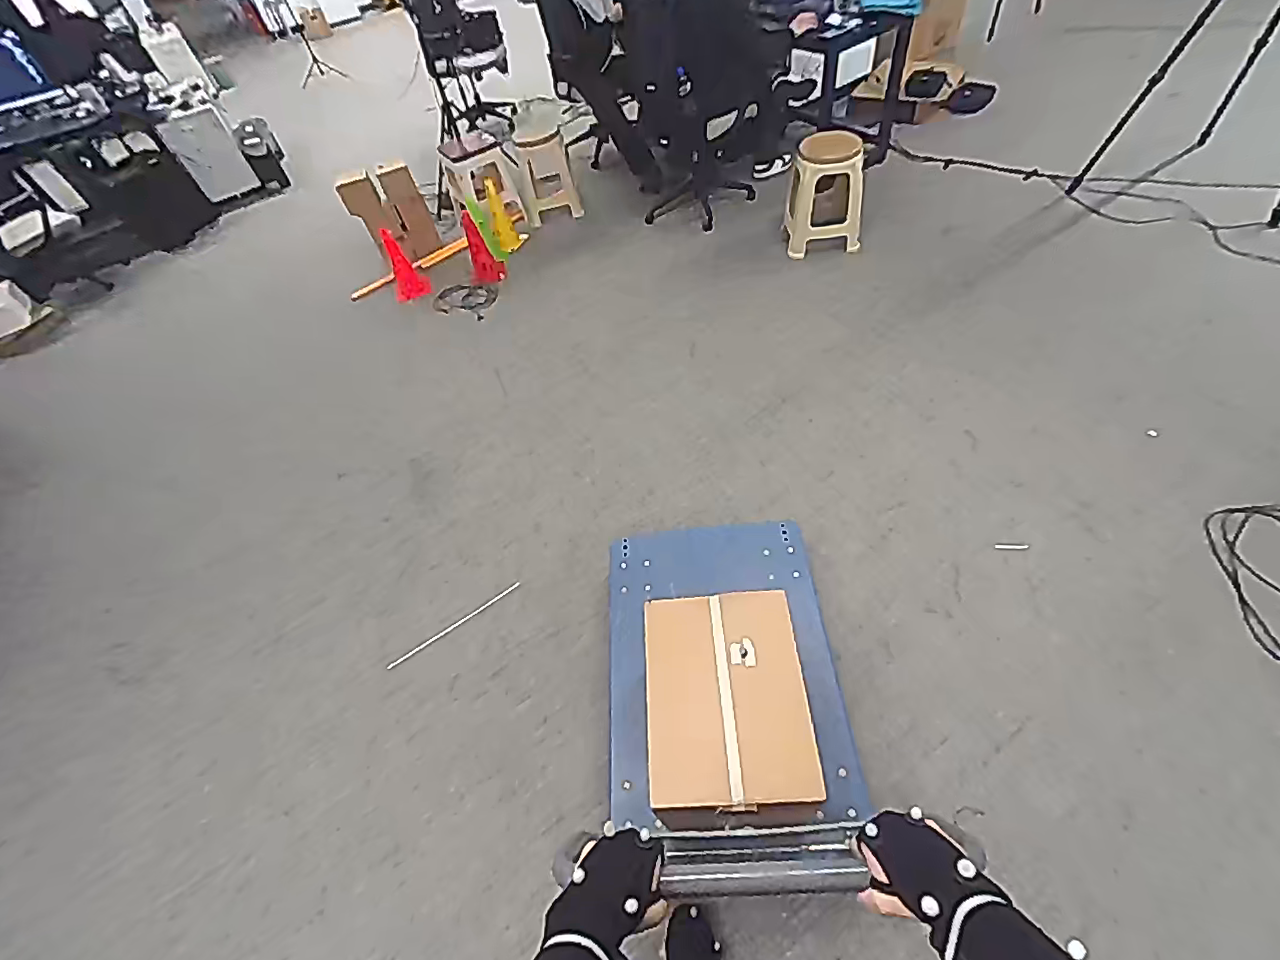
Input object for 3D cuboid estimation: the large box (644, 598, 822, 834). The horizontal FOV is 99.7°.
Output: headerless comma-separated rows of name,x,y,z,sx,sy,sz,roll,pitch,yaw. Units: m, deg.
large box,0.189,0.526,1.204,0.320,0.320,0.408,-6,50,5
